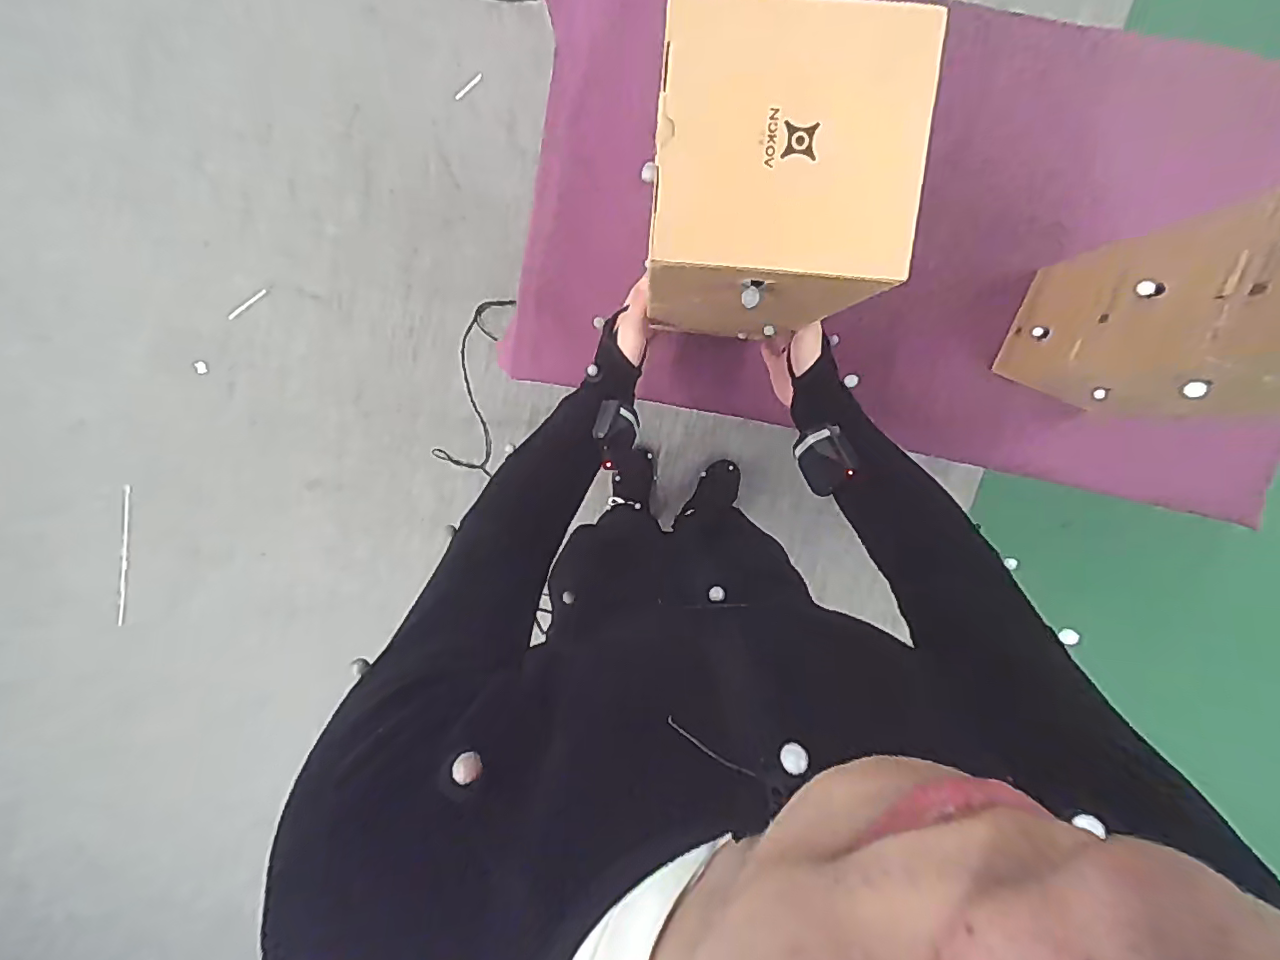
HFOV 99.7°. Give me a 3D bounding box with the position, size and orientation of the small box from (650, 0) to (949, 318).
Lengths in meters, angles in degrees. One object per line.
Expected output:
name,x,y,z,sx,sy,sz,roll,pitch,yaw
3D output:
small box,0.102,-0.226,0.428,0.179,0.176,0.168,5,100,1

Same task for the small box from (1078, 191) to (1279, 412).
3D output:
small box,0.641,-0.174,0.587,0.179,0.176,0.168,19,99,0

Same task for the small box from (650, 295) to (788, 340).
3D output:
small box,0.110,-0.292,0.749,0.179,0.176,0.168,7,98,1

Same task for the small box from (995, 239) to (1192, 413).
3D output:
small box,0.646,-0.199,0.749,0.179,0.176,0.168,22,98,-2

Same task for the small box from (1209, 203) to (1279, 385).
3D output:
small box,0.639,-0.151,0.424,0.179,0.176,0.168,18,98,0
